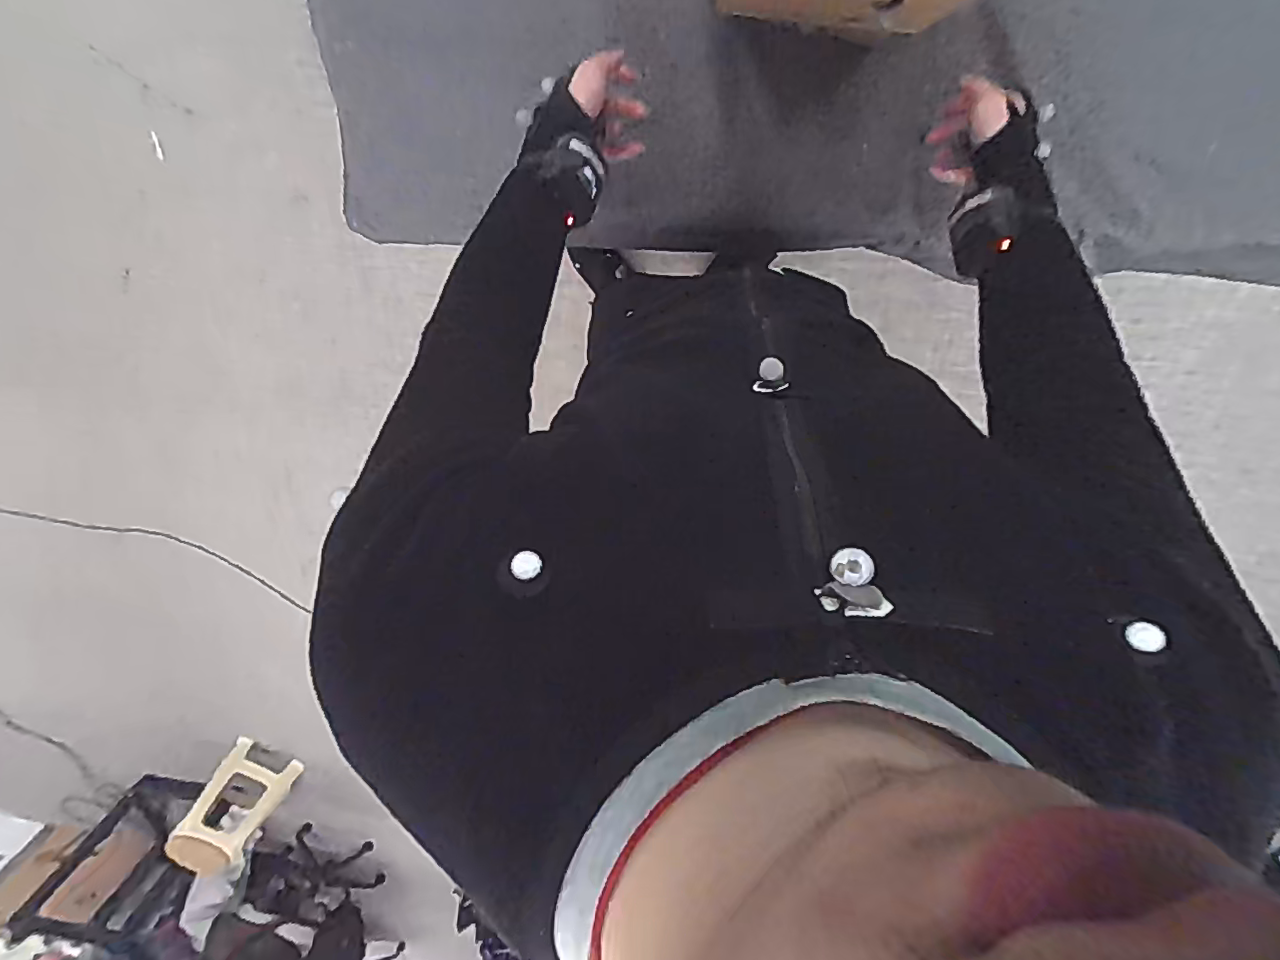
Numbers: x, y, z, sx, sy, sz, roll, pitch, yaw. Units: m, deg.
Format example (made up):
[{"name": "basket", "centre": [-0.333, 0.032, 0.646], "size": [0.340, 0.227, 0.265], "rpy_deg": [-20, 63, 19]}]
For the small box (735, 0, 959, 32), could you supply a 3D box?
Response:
[{"name": "small box", "centre": [0.149, -0.407, 0.335], "size": [0.168, 0.176, 0.179], "rpy_deg": [8, 121, 3]}]

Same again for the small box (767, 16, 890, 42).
[{"name": "small box", "centre": [0.183, -0.507, 0.462], "size": [0.168, 0.176, 0.179], "rpy_deg": [14, 122, 0]}]
